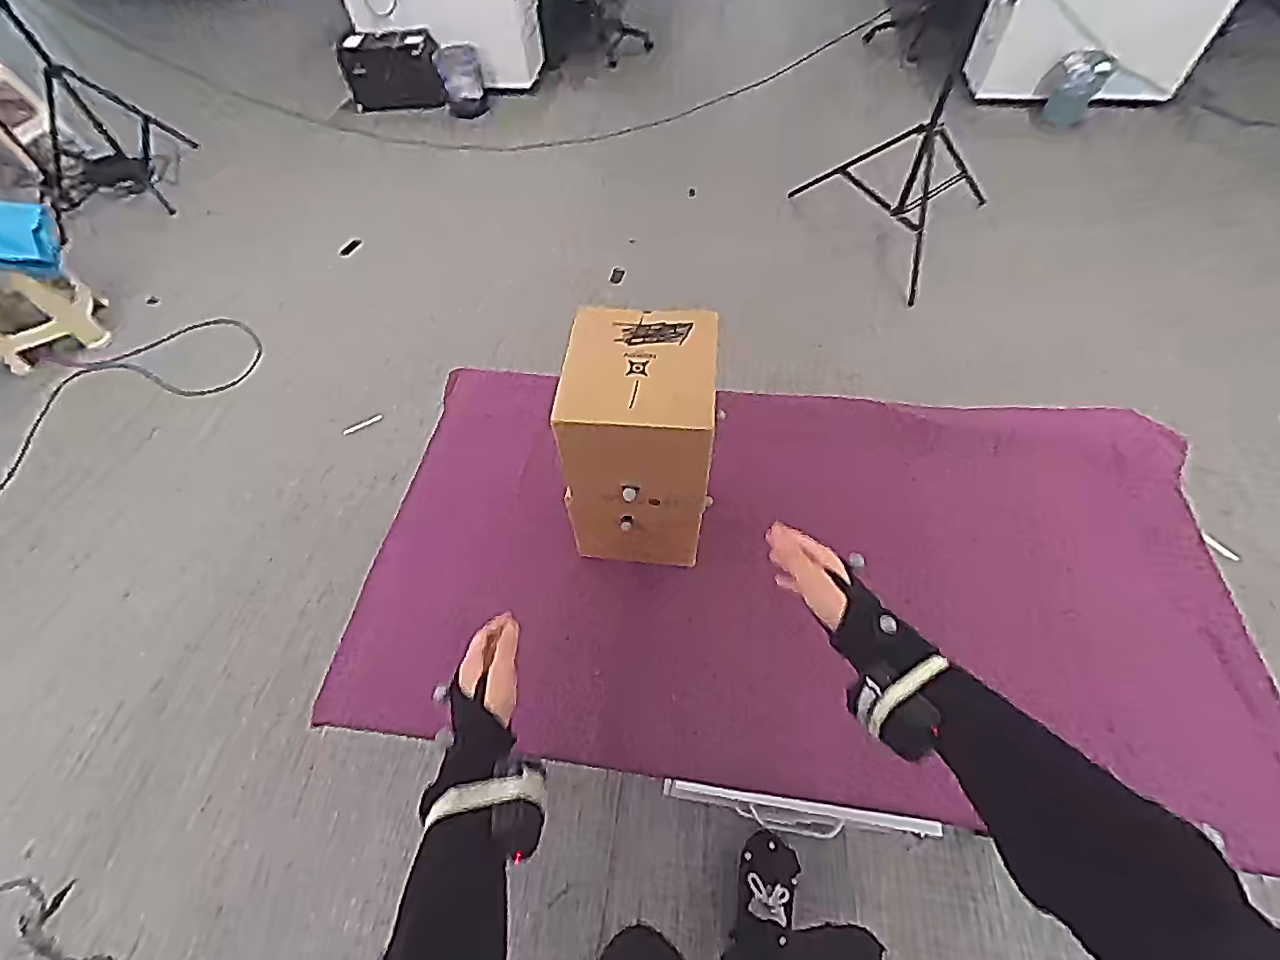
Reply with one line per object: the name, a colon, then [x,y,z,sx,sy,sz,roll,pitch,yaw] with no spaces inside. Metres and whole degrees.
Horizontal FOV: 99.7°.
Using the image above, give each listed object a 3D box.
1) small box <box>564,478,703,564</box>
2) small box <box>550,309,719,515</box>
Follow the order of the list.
small box: [0.003,0.011,0.786,0.179,0.176,0.168,5,57,6]
small box: [0.002,-0.078,0.648,0.168,0.176,0.179,4,58,6]
